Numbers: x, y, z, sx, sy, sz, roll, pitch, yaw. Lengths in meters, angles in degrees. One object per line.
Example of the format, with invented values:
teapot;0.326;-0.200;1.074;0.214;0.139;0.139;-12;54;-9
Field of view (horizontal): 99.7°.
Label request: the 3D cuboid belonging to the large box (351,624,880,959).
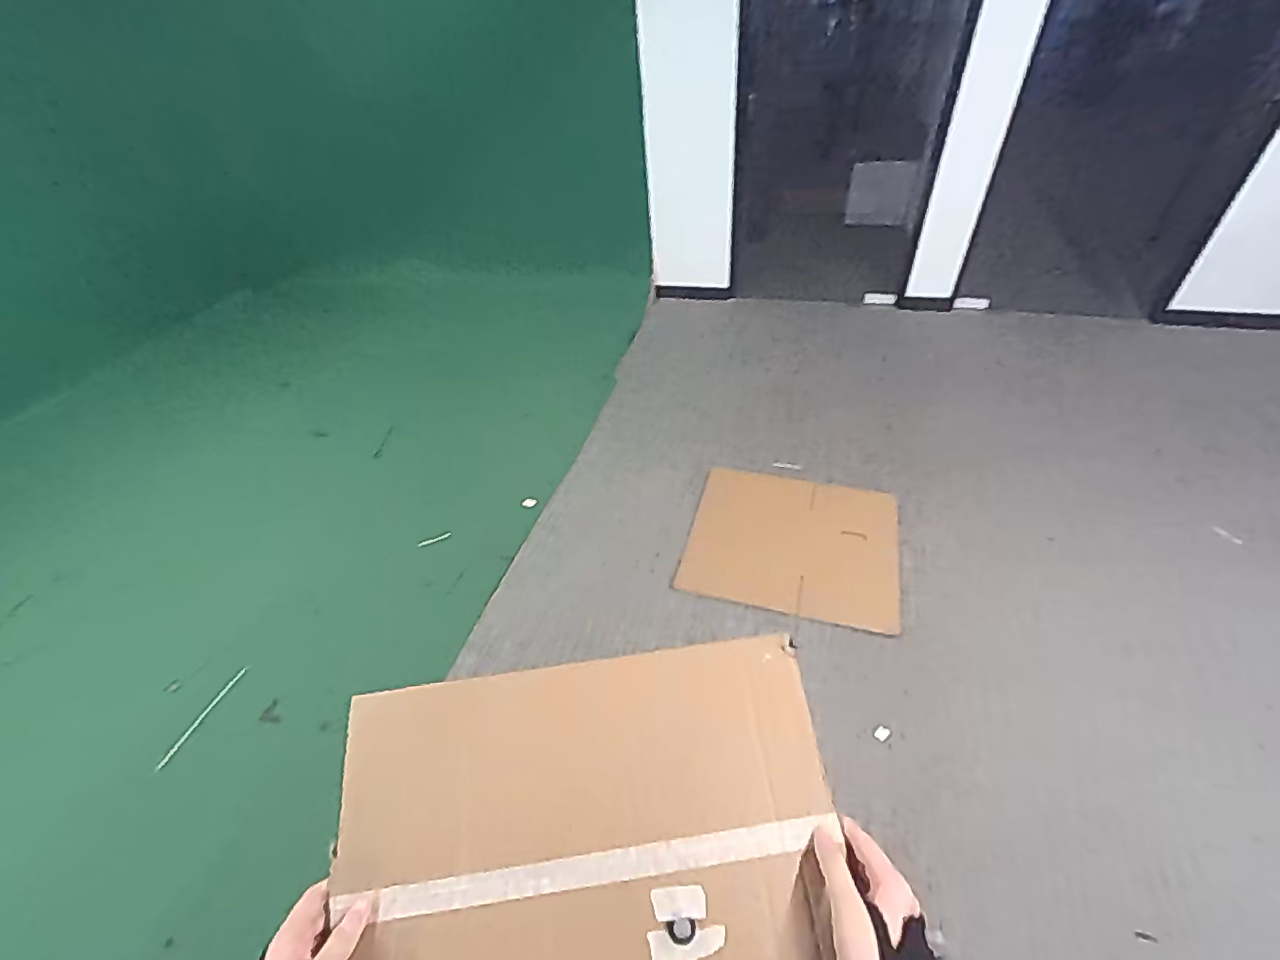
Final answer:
large box;-0.030;0.365;0.573;0.408;0.320;0.320;-7;65;-3
